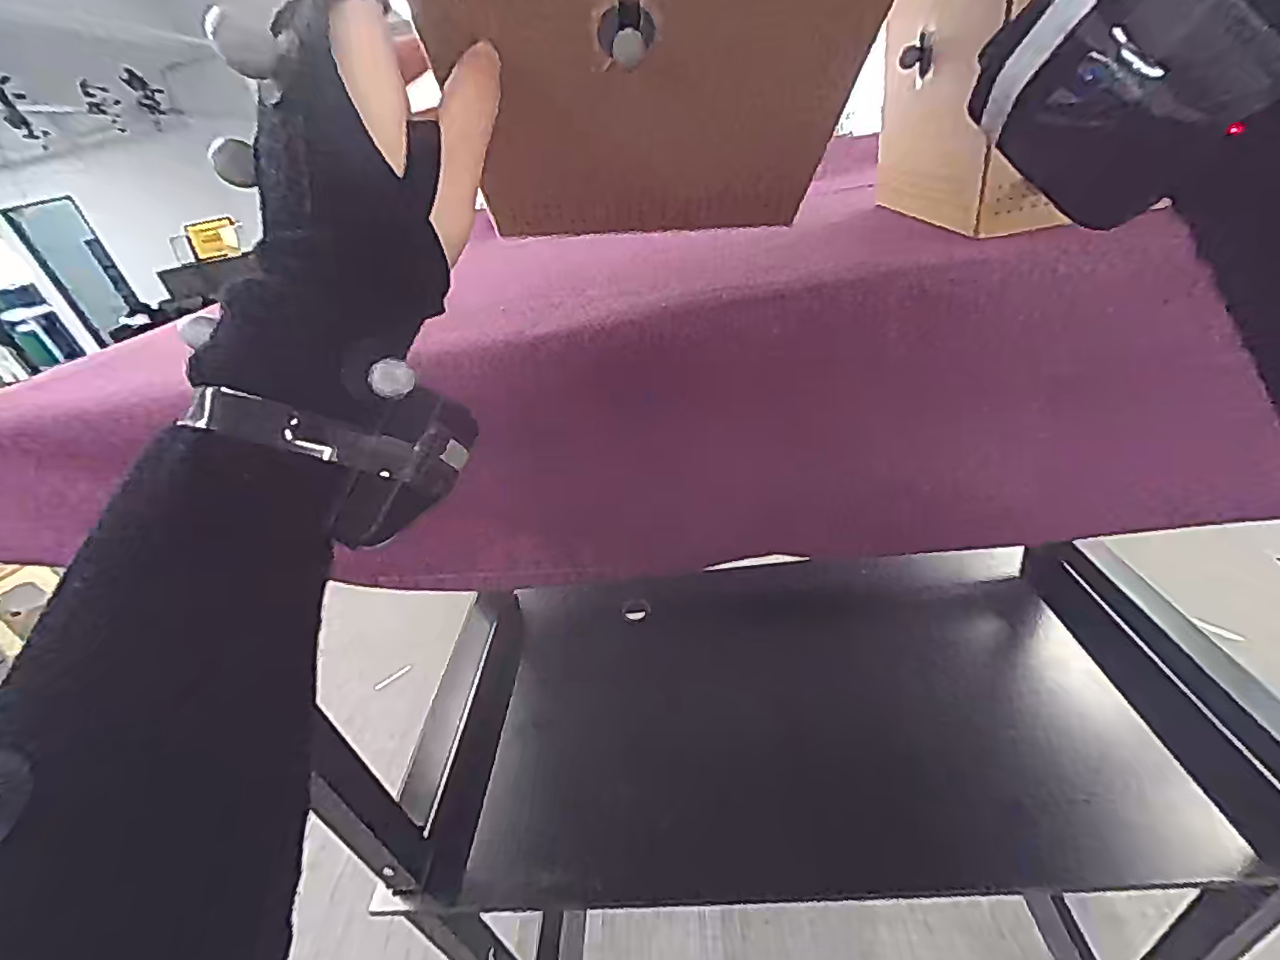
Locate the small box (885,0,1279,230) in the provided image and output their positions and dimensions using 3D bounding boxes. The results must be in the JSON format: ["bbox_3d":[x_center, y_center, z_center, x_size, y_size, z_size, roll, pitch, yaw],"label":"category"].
[{"bbox_3d":[0.257,-0.255,0.317,0.168,0.176,0.179,-7,31,7],"label":"small box"}]

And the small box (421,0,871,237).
[{"bbox_3d":[0.002,-0.235,0.249,0.179,0.168,0.176,-2,-12,0],"label":"small box"}]
